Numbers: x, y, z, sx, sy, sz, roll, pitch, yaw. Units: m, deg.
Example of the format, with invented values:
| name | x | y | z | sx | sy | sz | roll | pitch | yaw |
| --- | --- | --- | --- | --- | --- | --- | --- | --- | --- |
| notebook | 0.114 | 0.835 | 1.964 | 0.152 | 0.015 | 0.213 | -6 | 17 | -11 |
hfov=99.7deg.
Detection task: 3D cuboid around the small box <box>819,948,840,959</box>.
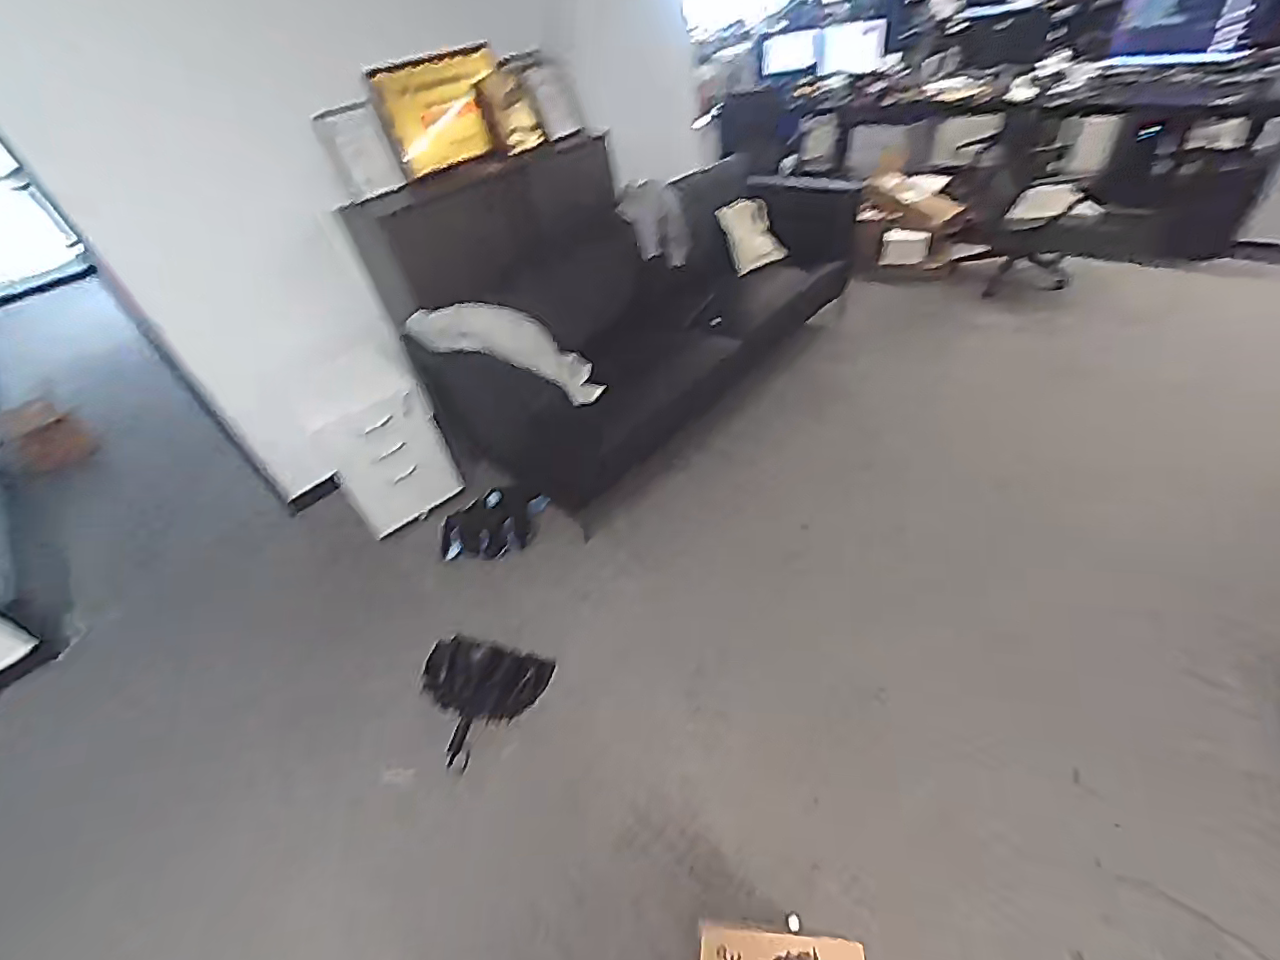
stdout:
| name | x | y | z | sx | sy | sz | roll | pitch | yaw |
| --- | --- | --- | --- | --- | --- | --- | --- | --- | --- |
| small box | 0.334 | 0.938 | 0.890 | 0.168 | 0.176 | 0.179 | 27 | 53 | 34 |
